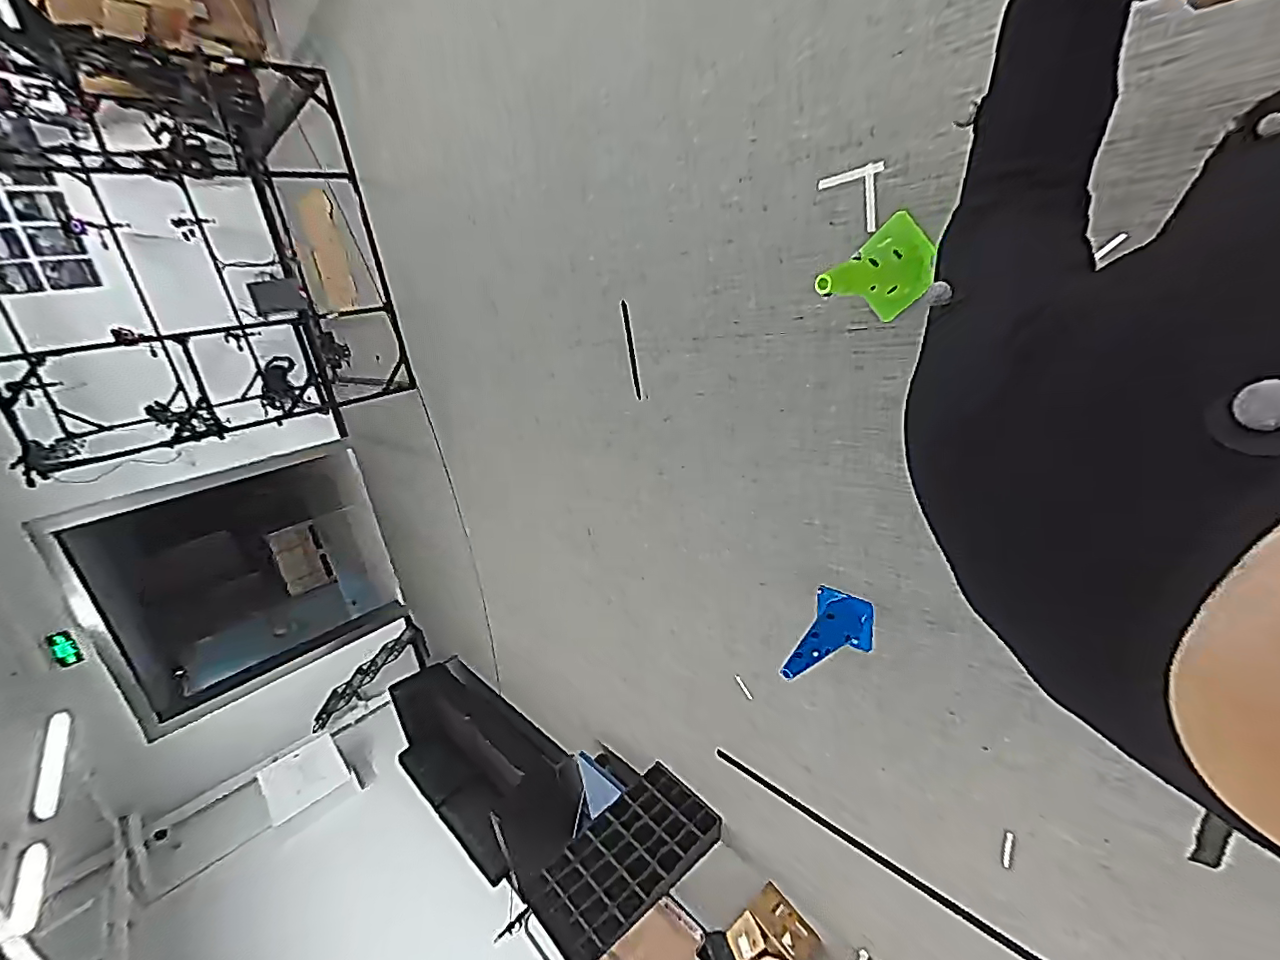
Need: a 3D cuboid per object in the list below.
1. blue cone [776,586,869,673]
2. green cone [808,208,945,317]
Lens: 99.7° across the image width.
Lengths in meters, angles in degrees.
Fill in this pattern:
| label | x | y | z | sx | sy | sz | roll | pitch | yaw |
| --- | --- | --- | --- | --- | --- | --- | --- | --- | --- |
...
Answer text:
| label | x | y | z | sx | sy | sz | roll | pitch | yaw |
| --- | --- | --- | --- | --- | --- | --- | --- | --- | --- |
| blue cone | 0.578 | 0.523 | 1.774 | 0.192 | 0.380 | 0.193 | 18 | 122 | 45 |
| green cone | 0.513 | -0.489 | 1.271 | 0.200 | 0.368 | 0.202 | 58 | 144 | 10 |
